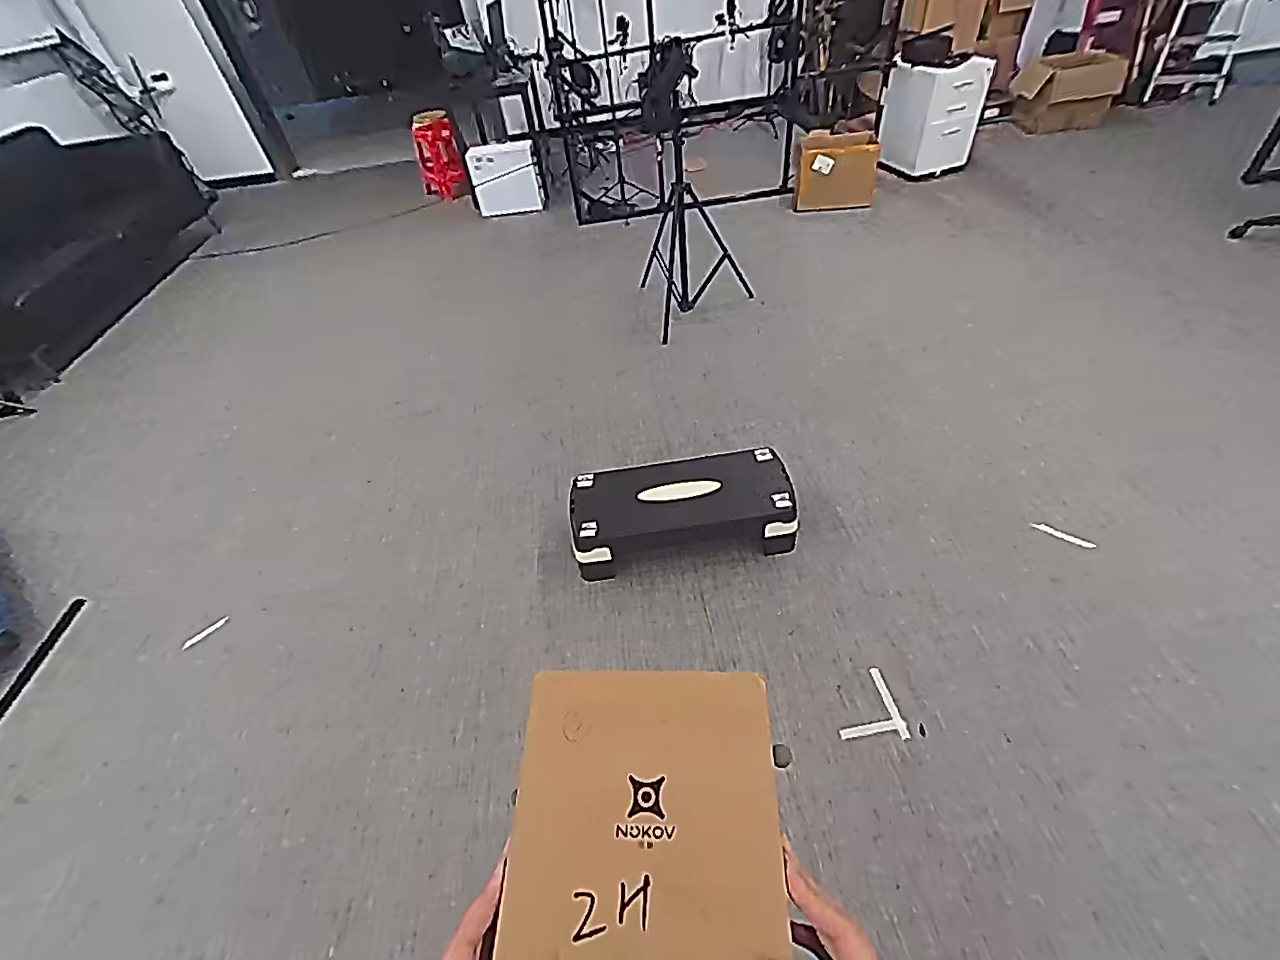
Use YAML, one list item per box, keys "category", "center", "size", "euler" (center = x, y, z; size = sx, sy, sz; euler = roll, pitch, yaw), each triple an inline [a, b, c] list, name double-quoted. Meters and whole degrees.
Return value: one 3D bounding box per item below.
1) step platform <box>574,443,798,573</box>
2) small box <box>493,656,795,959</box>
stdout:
- category: "step platform"
  center: [0.135, 0.081, 1.697]
  size: [0.684, 0.204, 0.286]
  euler: [-9, 45, 0]
- category: "small box"
  center: [0.012, 0.246, 0.398]
  size: [0.168, 0.176, 0.179]
  euler: [-1, 53, 6]
